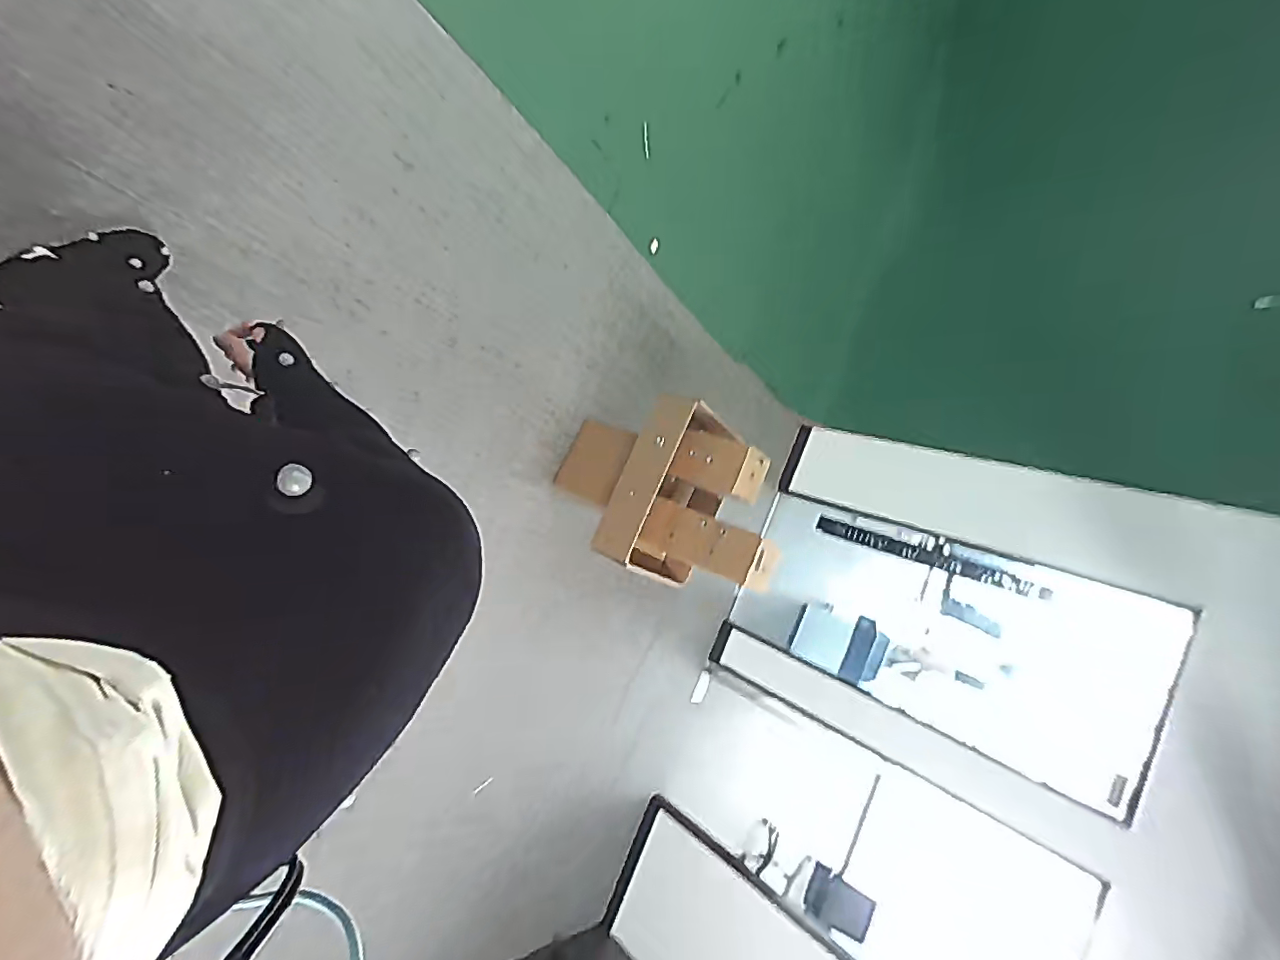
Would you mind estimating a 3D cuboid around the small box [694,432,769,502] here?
[{"bbox_3d":[0.310,-0.047,1.864,0.168,0.176,0.179,26,86,-50],"label":"small box"}]

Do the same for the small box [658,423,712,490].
[{"bbox_3d":[0.193,-0.090,1.970,0.168,0.176,0.179,29,84,-50],"label":"small box"}]

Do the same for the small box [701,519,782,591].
[{"bbox_3d":[0.323,0.237,1.737,0.179,0.176,0.168,31,82,-50],"label":"small box"}]
